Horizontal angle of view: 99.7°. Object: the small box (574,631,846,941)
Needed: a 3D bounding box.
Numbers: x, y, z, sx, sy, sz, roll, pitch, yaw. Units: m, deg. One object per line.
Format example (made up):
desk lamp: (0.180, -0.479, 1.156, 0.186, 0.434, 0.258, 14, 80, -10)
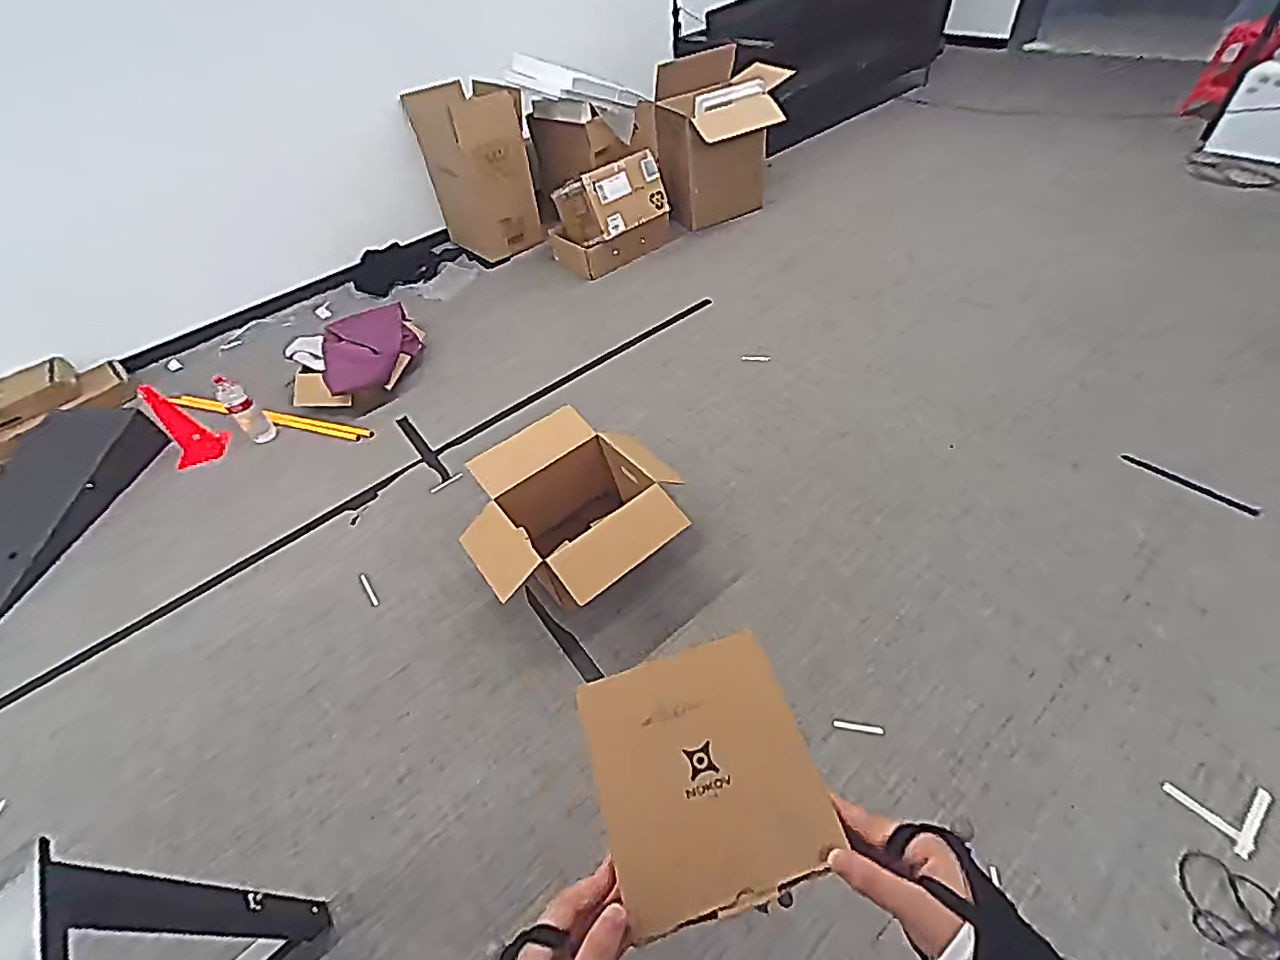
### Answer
small box: (0.050, 0.266, 0.482, 0.168, 0.176, 0.179, -16, 54, -8)
